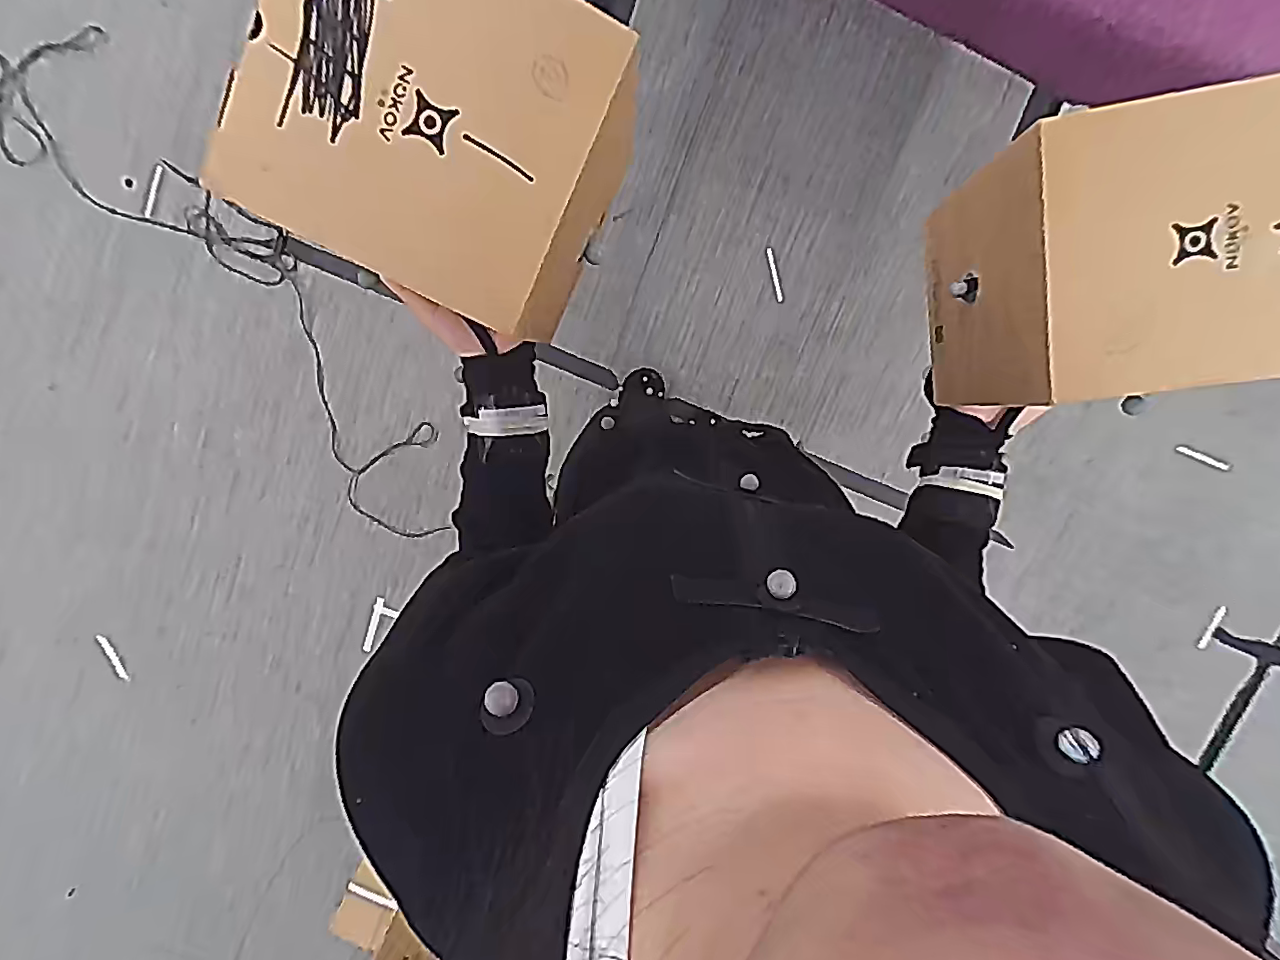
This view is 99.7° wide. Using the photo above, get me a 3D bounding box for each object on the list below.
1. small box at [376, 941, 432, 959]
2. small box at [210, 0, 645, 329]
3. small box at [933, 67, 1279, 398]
[{"bbox_3d":[-0.519,1.125,1.122,0.168,0.176,0.179,26,98,-3],"label":"small box"},{"bbox_3d":[-0.112,-0.208,0.352,0.179,0.176,0.168,25,102,-8],"label":"small box"},{"bbox_3d":[0.330,-0.151,0.388,0.179,0.176,0.168,-7,98,7],"label":"small box"}]
